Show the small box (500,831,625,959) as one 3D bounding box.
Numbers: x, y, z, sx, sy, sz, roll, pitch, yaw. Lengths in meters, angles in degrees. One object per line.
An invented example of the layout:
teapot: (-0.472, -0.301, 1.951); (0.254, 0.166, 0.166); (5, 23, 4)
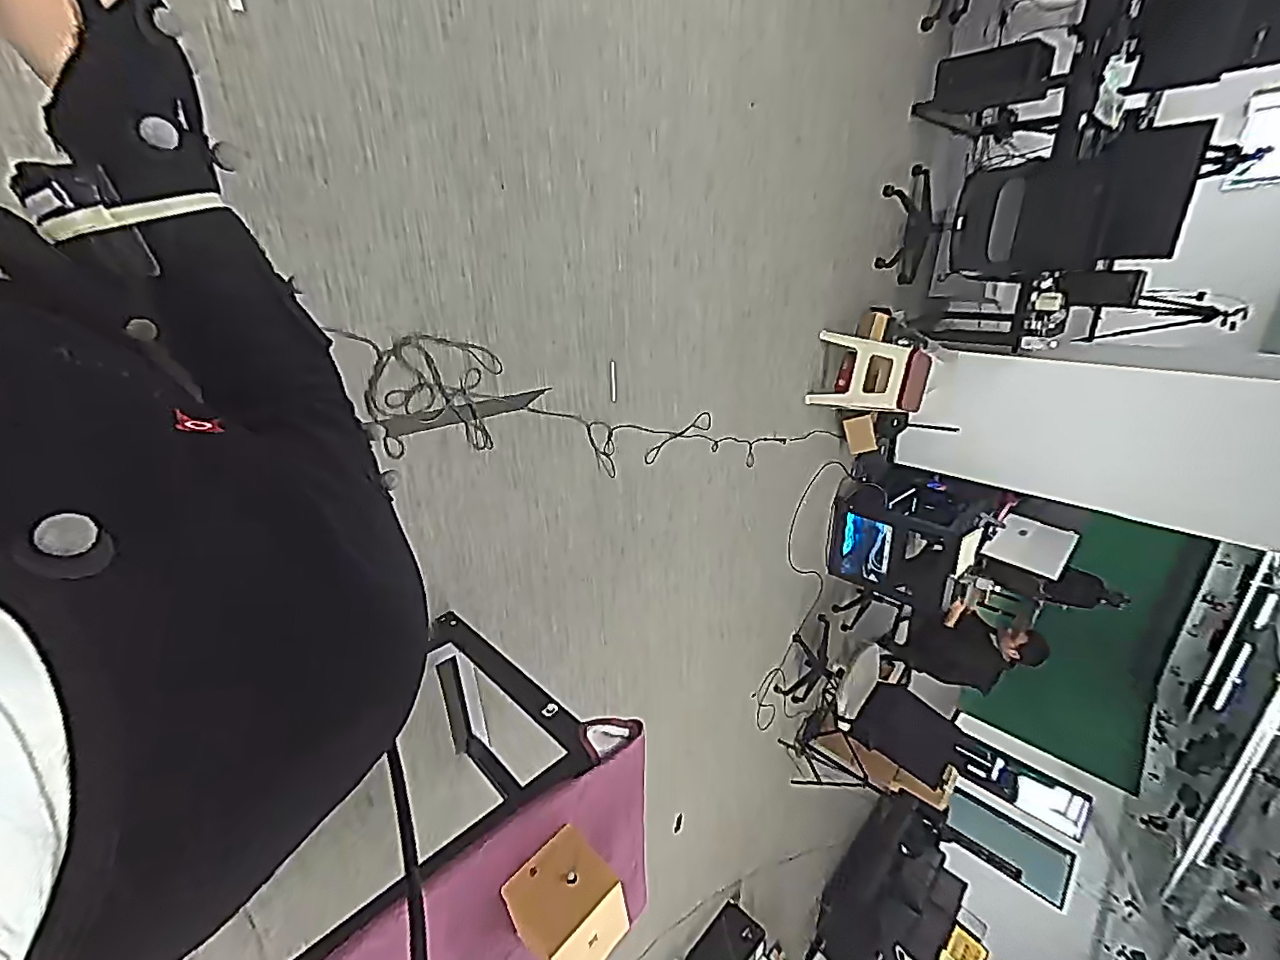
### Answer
small box: (-0.152, 0.834, 1.055); (0.168, 0.176, 0.179); (-29, 125, -37)
